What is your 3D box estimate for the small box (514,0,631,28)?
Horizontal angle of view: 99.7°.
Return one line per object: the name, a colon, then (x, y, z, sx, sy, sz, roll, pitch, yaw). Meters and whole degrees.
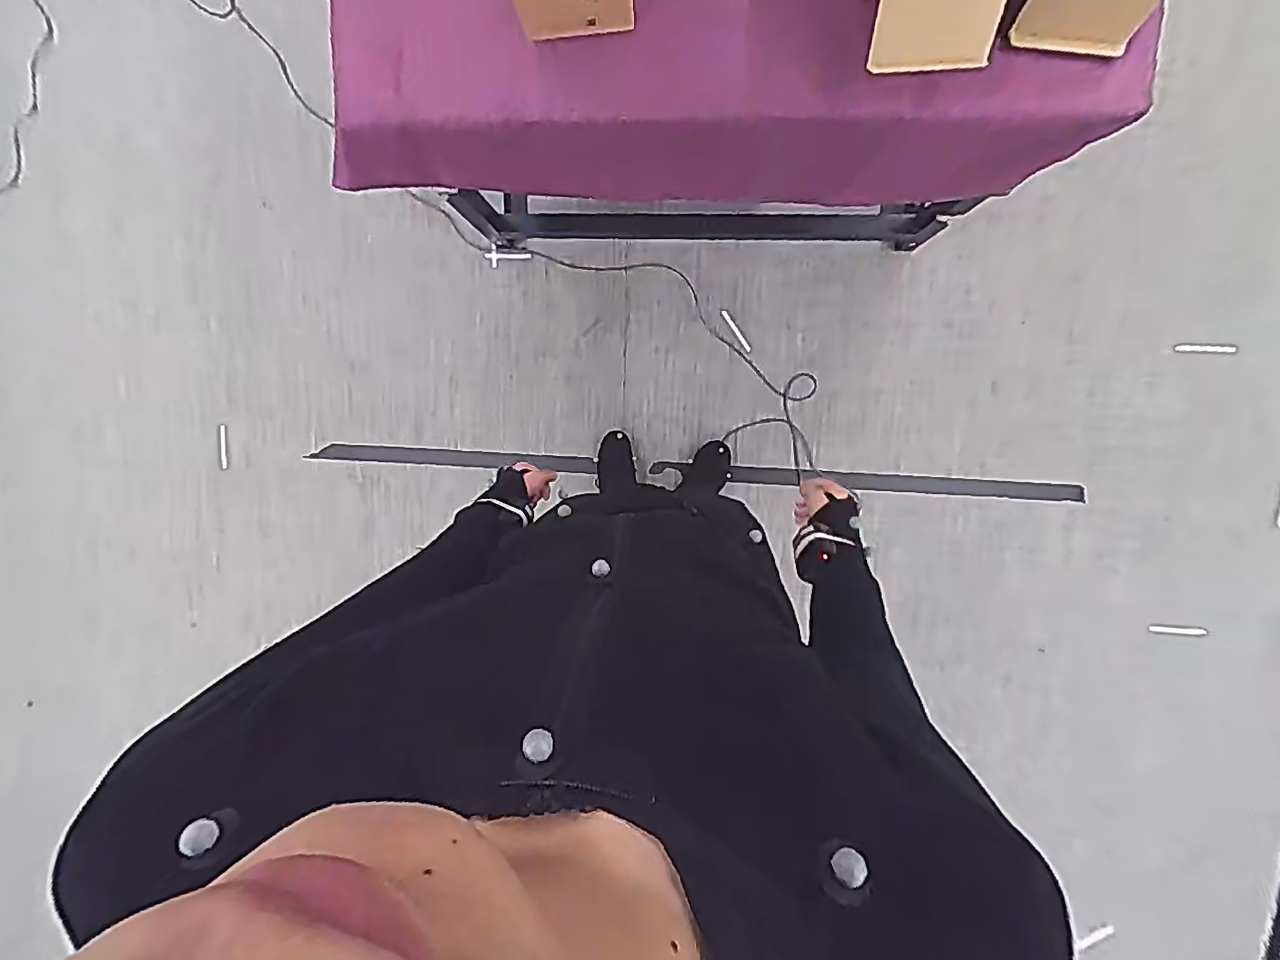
small box: (-0.102, -0.752, 0.726, 0.168, 0.176, 0.179, -2, 96, 4)
